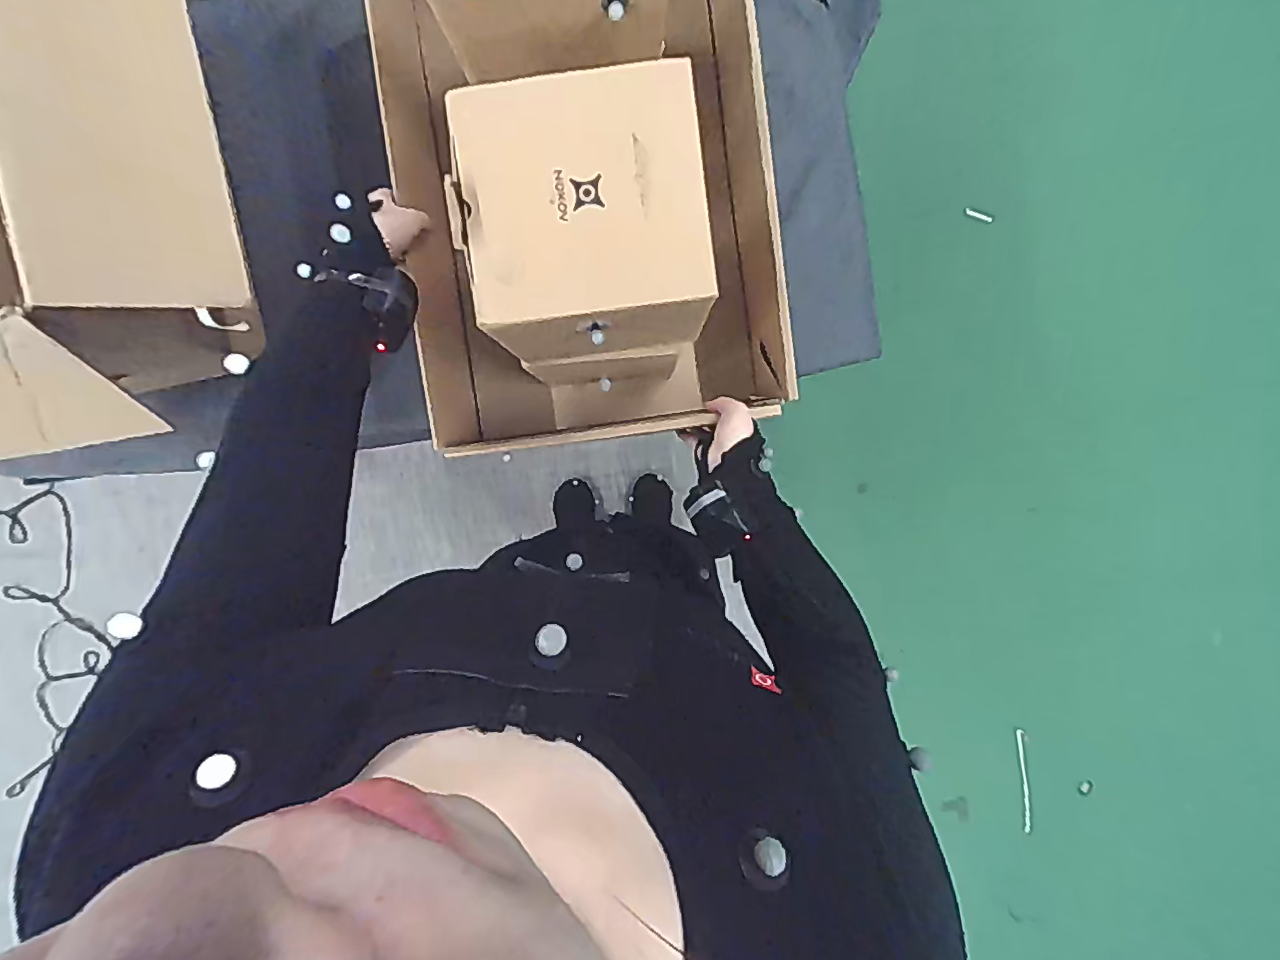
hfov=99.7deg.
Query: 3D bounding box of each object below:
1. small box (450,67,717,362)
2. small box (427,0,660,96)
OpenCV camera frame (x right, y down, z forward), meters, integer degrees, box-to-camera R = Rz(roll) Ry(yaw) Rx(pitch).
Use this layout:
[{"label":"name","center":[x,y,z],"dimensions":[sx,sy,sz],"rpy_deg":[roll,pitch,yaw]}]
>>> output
[{"label":"small box","center":[-0.039,-0.203,0.465],"dimensions":[0.179,0.176,0.168],"rpy_deg":[-8,94,0]},{"label":"small box","center":[-0.077,-0.433,0.450],"dimensions":[0.179,0.176,0.168],"rpy_deg":[-8,96,0]}]
